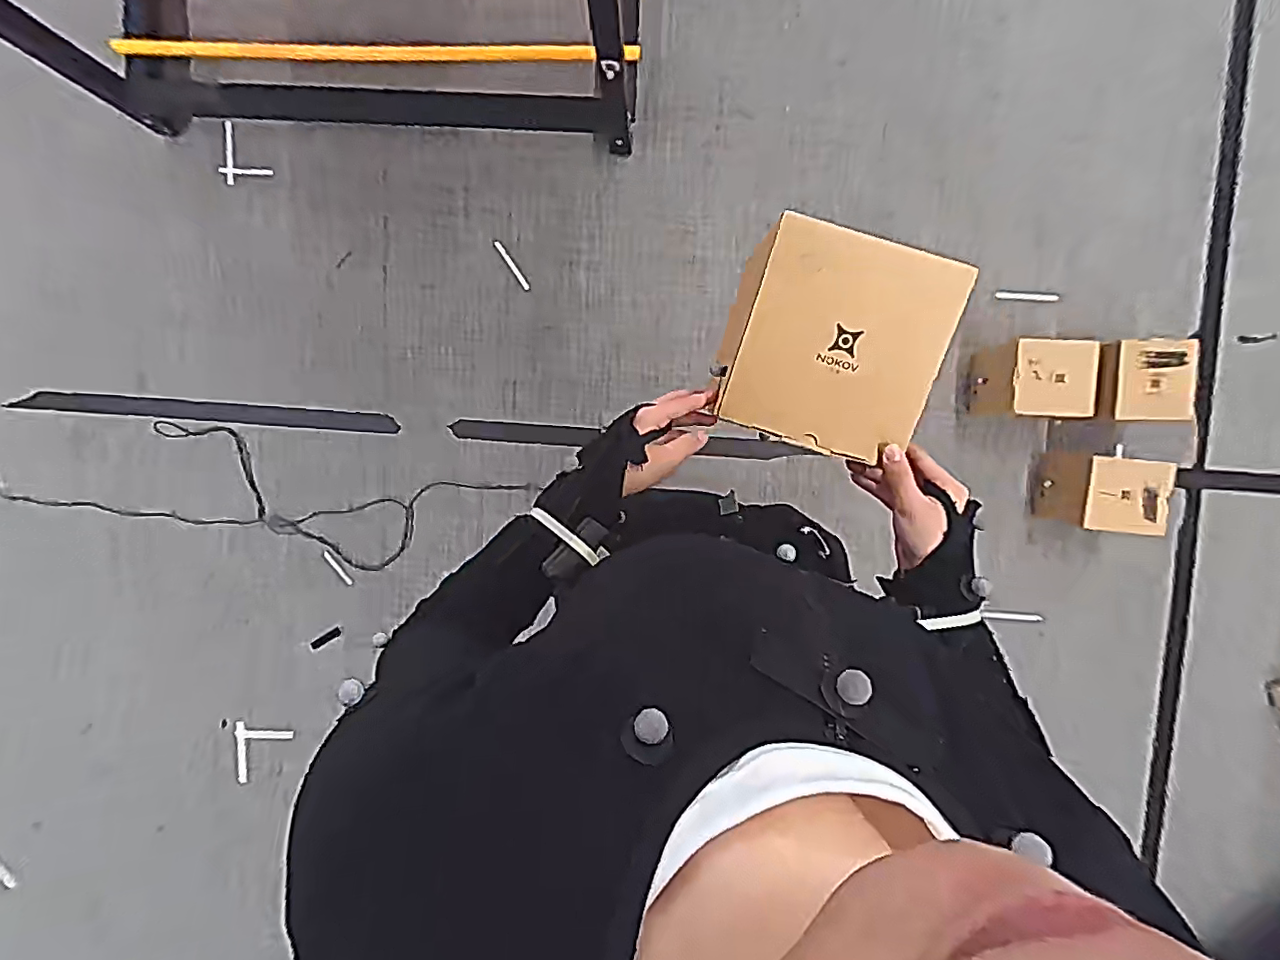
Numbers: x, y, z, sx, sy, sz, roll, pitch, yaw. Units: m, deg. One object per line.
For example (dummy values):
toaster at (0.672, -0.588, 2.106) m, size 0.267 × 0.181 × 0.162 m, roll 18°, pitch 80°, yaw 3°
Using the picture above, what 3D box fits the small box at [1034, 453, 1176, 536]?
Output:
small box at (1.079, 0.028, 1.268) m, size 0.179 × 0.176 × 0.168 m, roll 6°, pitch 95°, yaw 2°

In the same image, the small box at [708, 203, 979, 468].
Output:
small box at (0.169, -0.129, 0.517) m, size 0.168 × 0.176 × 0.179 m, roll 16°, pitch 102°, yaw -1°

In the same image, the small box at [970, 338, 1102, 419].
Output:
small box at (0.907, -0.228, 1.251) m, size 0.179 × 0.176 × 0.168 m, roll 2°, pitch 94°, yaw 2°
